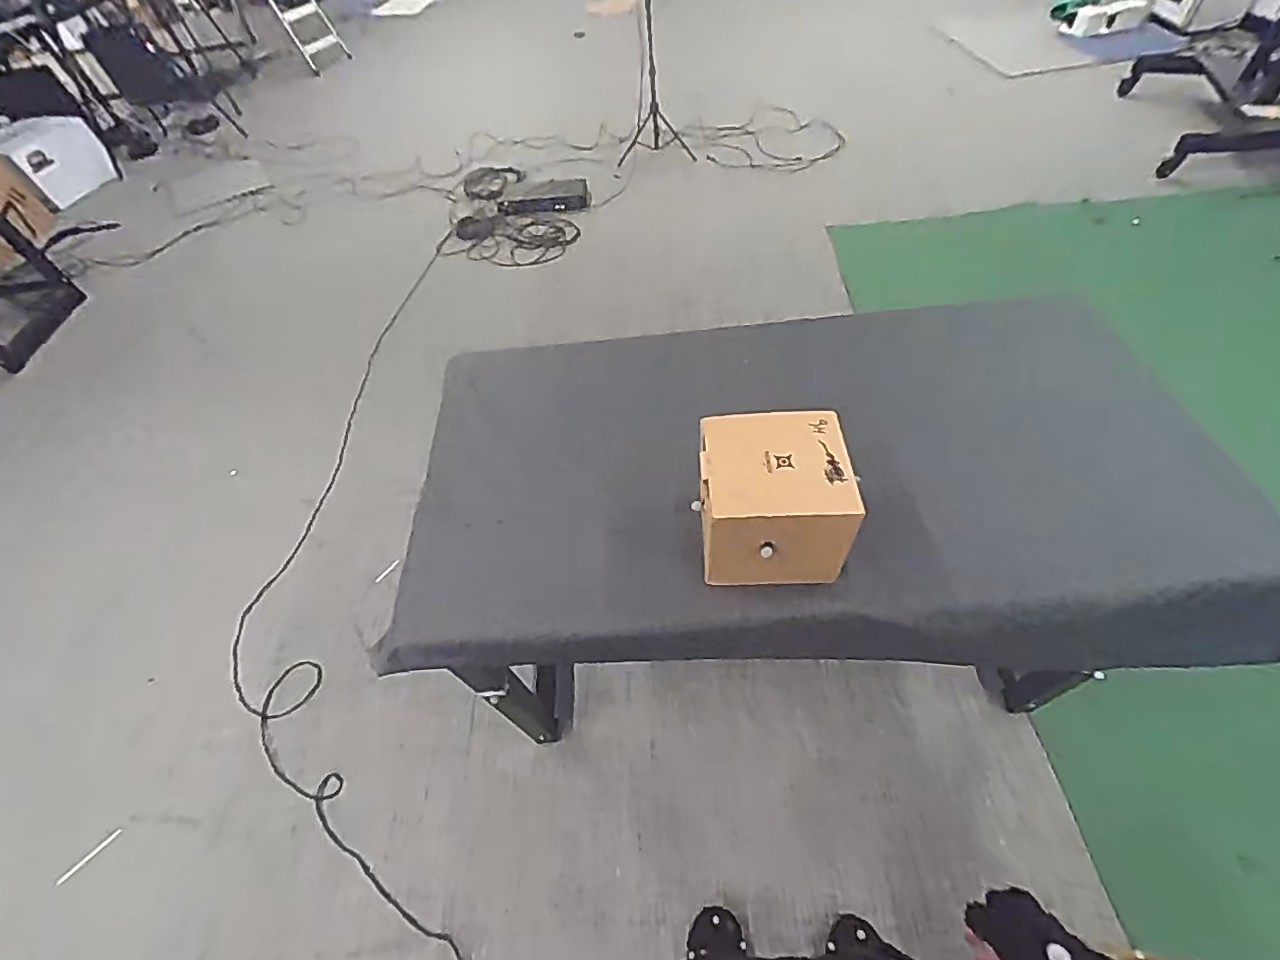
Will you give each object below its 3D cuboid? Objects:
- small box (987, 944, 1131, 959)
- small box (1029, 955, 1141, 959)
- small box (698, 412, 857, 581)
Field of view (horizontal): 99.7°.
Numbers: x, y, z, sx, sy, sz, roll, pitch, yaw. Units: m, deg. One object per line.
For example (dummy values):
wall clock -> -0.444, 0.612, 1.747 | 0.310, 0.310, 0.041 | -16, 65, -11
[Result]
small box -> 0.743, 0.909, 0.924 | 0.179, 0.176, 0.168 | -5, 52, 4
small box -> 0.718, 0.812, 0.793 | 0.179, 0.176, 0.168 | -3, 52, 5
small box -> 0.170, 0.027, 0.726 | 0.179, 0.176, 0.168 | -2, 52, 5
